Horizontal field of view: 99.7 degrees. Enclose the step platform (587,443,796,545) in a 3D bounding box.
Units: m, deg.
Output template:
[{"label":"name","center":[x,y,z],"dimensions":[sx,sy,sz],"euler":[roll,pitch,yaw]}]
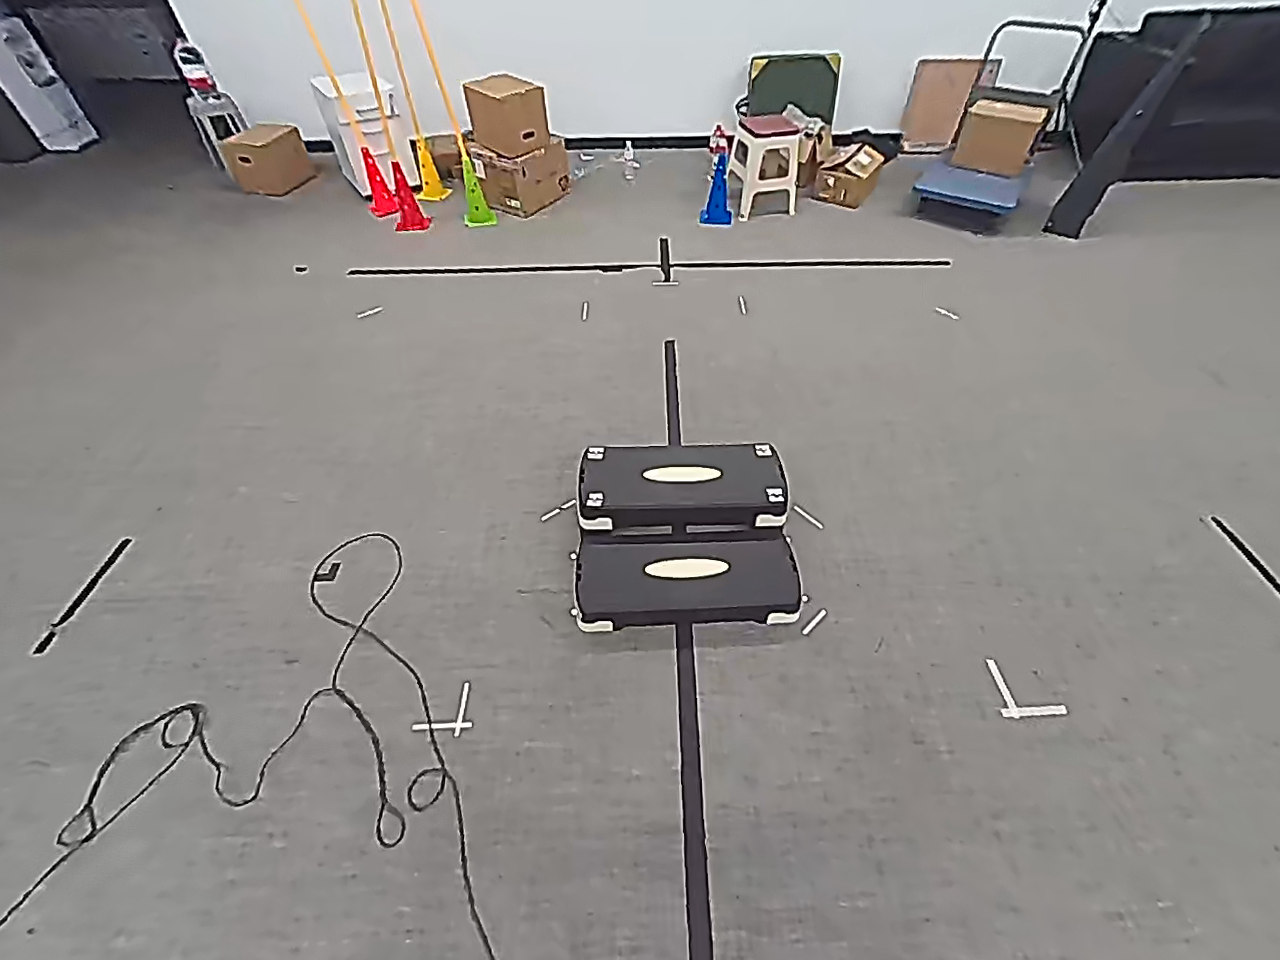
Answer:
[{"label":"step platform","center":[0.165,0.040,1.814],"dimensions":[0.684,0.204,0.286],"euler":[-1,49,-2]}]
